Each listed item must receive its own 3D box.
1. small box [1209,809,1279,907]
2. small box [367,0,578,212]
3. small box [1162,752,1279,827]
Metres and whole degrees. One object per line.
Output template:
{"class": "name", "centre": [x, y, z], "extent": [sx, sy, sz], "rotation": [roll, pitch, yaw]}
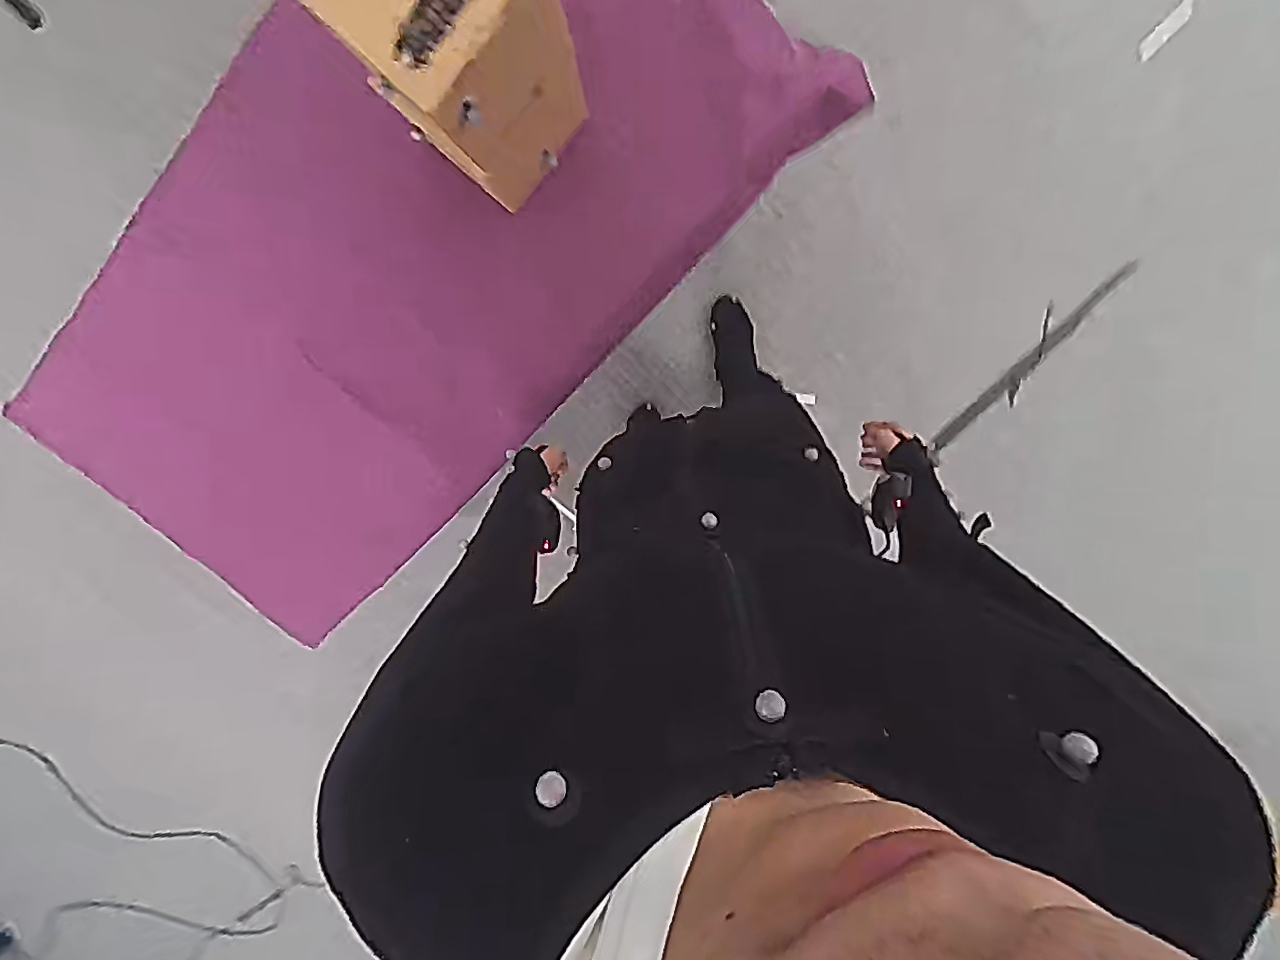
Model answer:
{"class": "small box", "centre": [1.925, 1.157, 1.649], "extent": [0.168, 0.176, 0.179], "rotation": [-43, 100, 8]}
{"class": "small box", "centre": [-0.193, -0.481, 0.683], "extent": [0.168, 0.176, 0.179], "rotation": [39, 100, -8]}
{"class": "small box", "centre": [1.917, 1.043, 1.789], "extent": [0.179, 0.176, 0.168], "rotation": [31, 101, -7]}
